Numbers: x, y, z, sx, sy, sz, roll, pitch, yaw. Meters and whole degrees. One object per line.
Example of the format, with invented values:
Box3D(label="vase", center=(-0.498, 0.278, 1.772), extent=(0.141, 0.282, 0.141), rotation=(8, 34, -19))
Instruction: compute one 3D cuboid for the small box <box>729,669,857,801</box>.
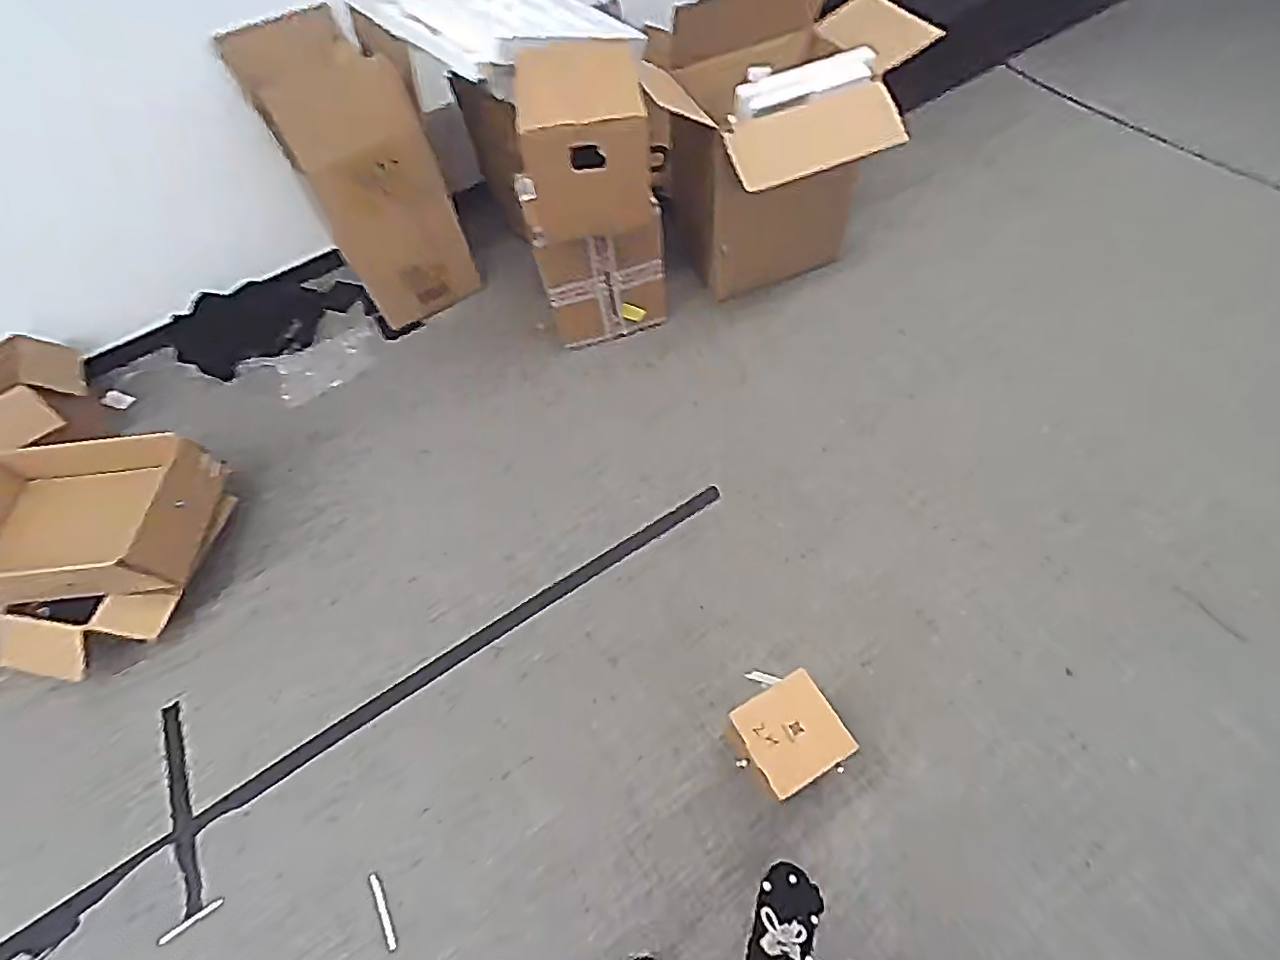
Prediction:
Box3D(label="small box", center=(0.287, 0.502, 1.063), extent=(0.179, 0.176, 0.168), rotation=(-28, 59, -9))
